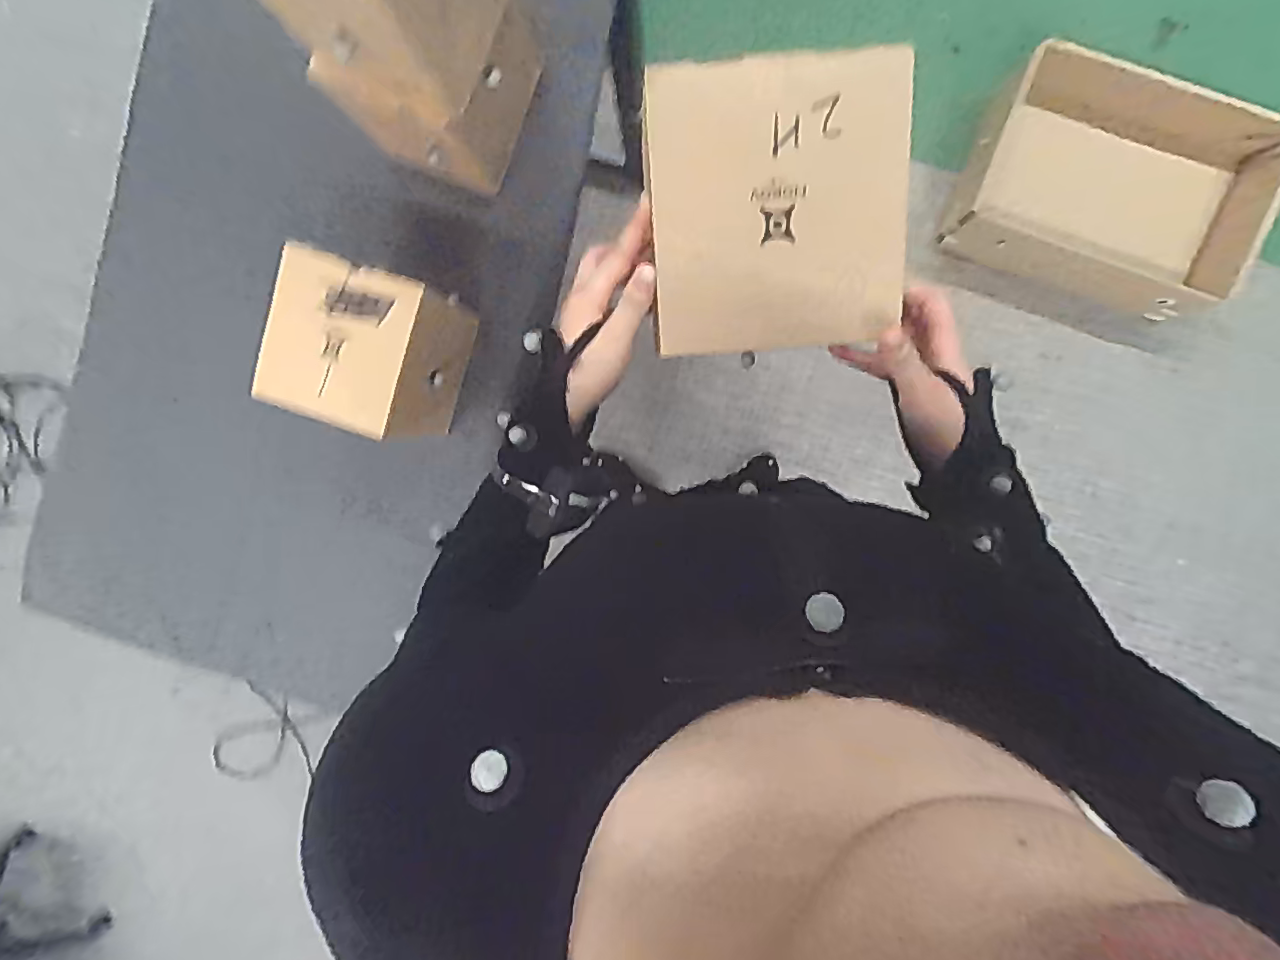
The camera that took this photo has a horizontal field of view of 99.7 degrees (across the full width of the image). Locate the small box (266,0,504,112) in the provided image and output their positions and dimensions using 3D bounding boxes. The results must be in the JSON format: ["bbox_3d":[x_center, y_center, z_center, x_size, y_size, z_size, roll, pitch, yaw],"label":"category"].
[{"bbox_3d":[-0.231,-0.472,0.470,0.168,0.176,0.179,24,96,1],"label":"small box"}]

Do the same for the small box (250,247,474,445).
[{"bbox_3d":[-0.324,-0.153,0.667,0.168,0.176,0.179,18,97,3],"label":"small box"}]

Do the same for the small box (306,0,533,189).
[{"bbox_3d":[-0.241,-0.480,0.635,0.168,0.176,0.179,21,95,1],"label":"small box"}]
